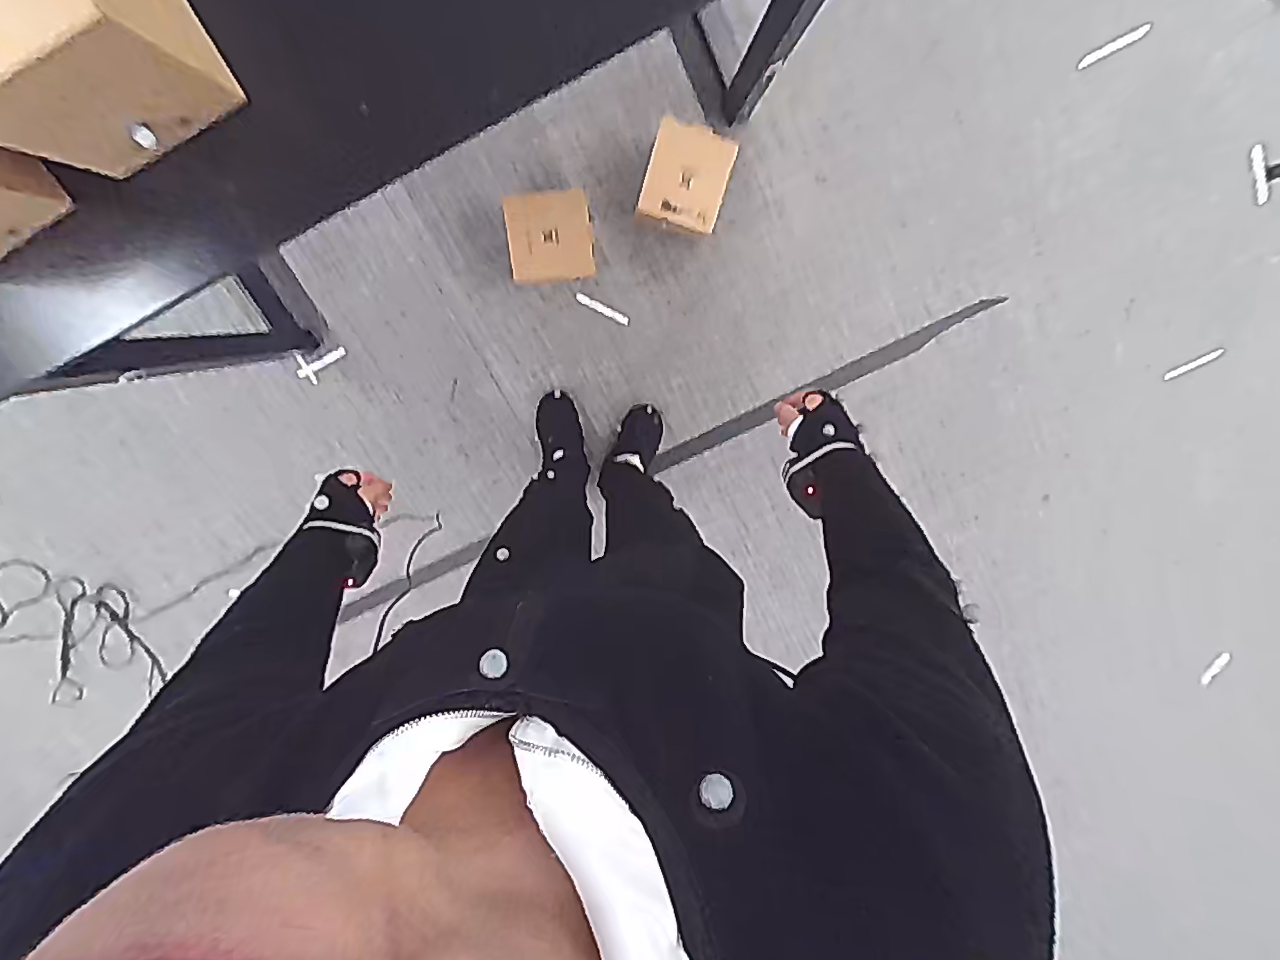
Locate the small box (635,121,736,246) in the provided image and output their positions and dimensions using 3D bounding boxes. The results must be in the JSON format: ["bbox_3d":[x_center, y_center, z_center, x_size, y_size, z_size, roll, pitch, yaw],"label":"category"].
[{"bbox_3d":[0.088,-0.632,1.176,0.168,0.176,0.179,16,105,-7],"label":"small box"}]

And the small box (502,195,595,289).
[{"bbox_3d":[-0.193,-0.520,1.199,0.179,0.176,0.168,-6,106,0],"label":"small box"}]

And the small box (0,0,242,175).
[{"bbox_3d":[-0.504,-0.398,0.457,0.168,0.176,0.179,-26,106,5],"label":"small box"}]
